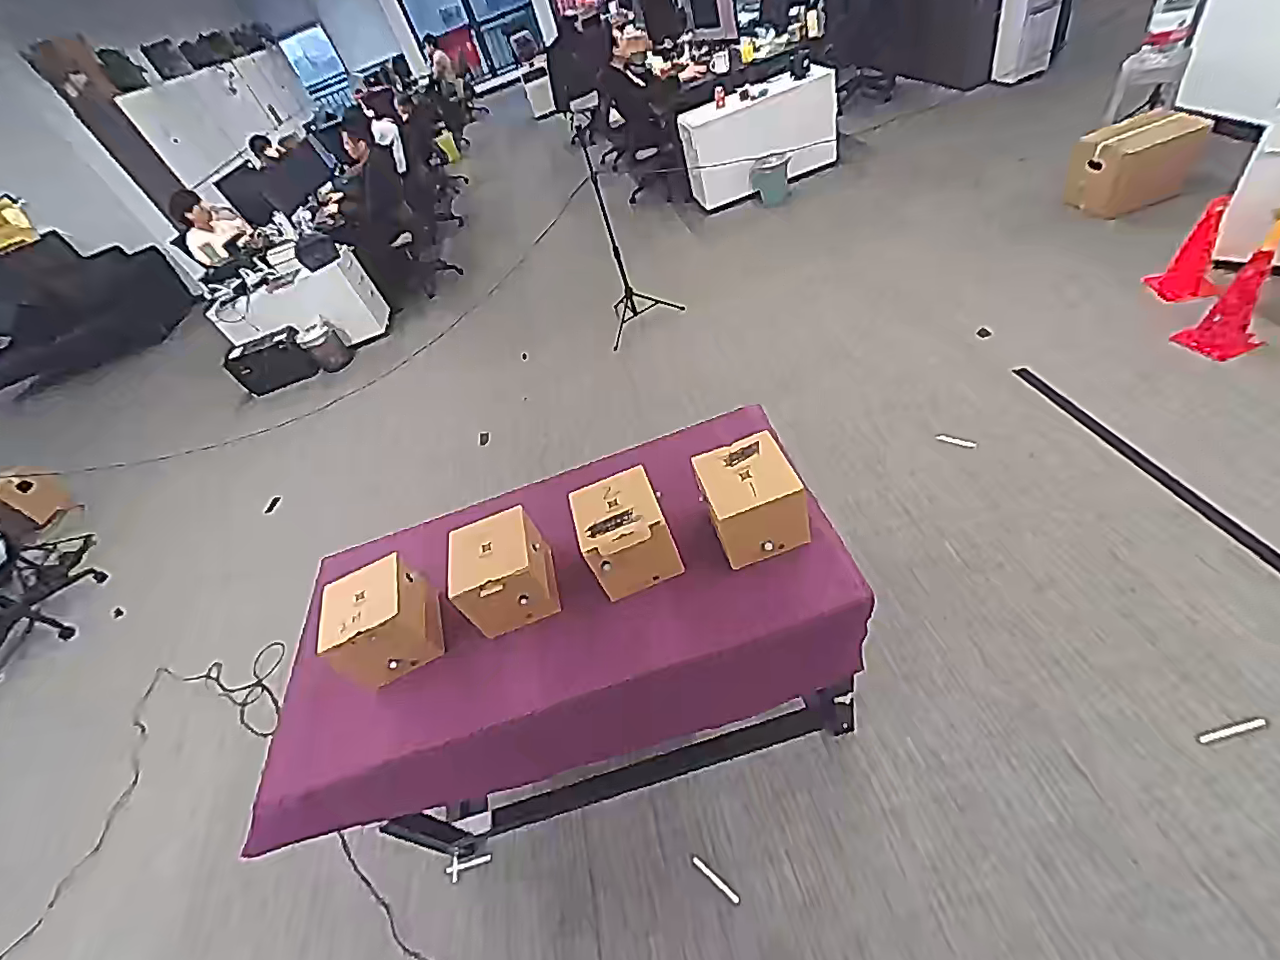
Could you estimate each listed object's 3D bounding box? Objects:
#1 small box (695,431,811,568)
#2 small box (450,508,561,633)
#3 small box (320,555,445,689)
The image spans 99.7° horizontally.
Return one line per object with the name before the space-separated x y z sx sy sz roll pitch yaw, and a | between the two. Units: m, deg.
small box | 0.223 0.040 1.066 0.168 0.176 0.179 -21 44 2
small box | -0.276 0.195 1.124 0.168 0.176 0.179 -21 44 1
small box | -0.526 0.297 1.124 0.168 0.176 0.179 -27 44 -3
